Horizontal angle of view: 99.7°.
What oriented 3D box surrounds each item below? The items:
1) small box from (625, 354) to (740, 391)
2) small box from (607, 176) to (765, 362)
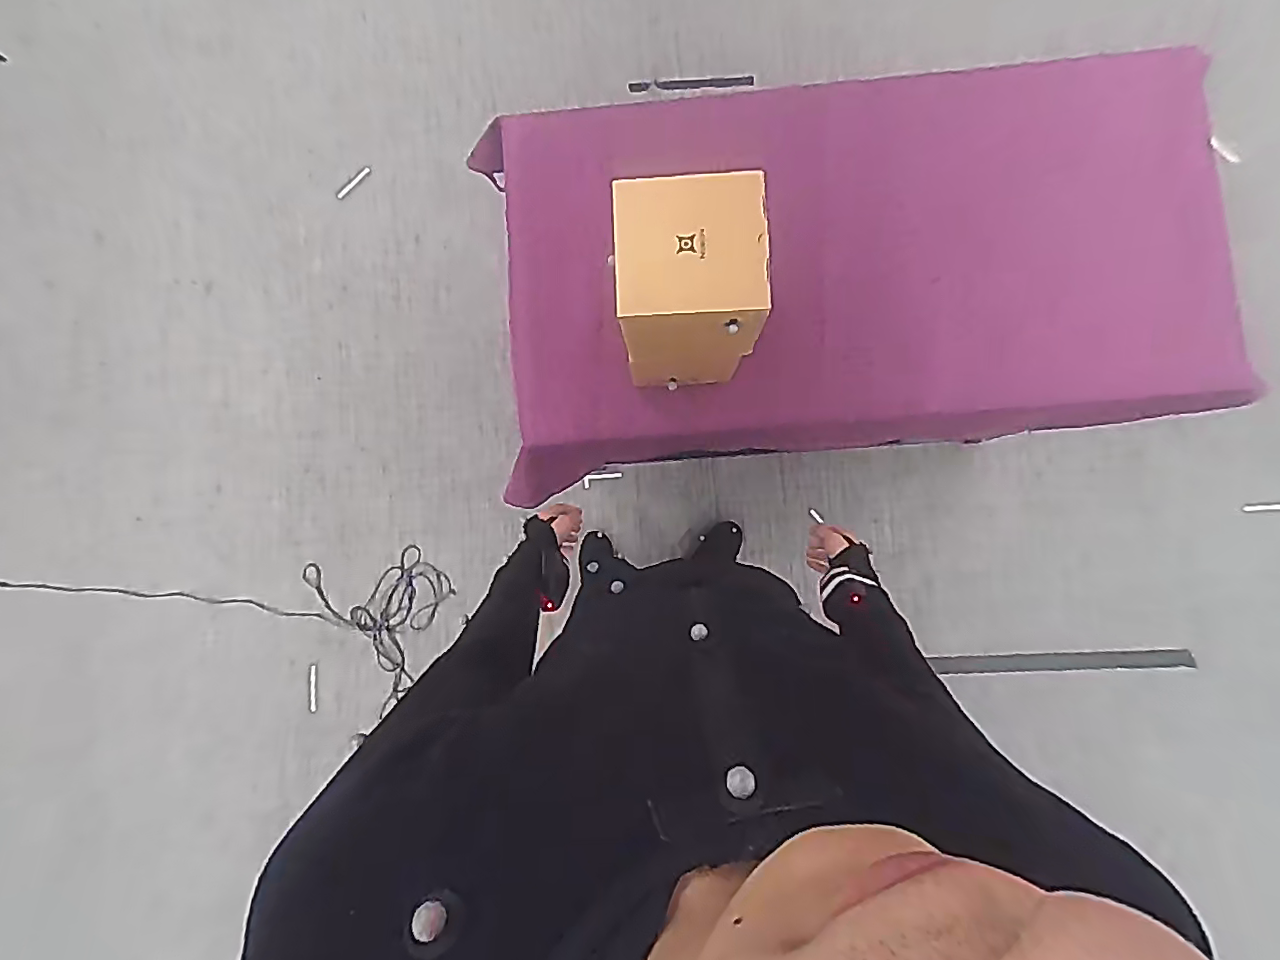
[{"bbox_3d":[0.061,-0.248,0.852,0.168,0.176,0.179,-3,87,3],"label":"small box"},{"bbox_3d":[0.056,-0.254,0.690,0.179,0.176,0.168,-2,86,3],"label":"small box"}]
